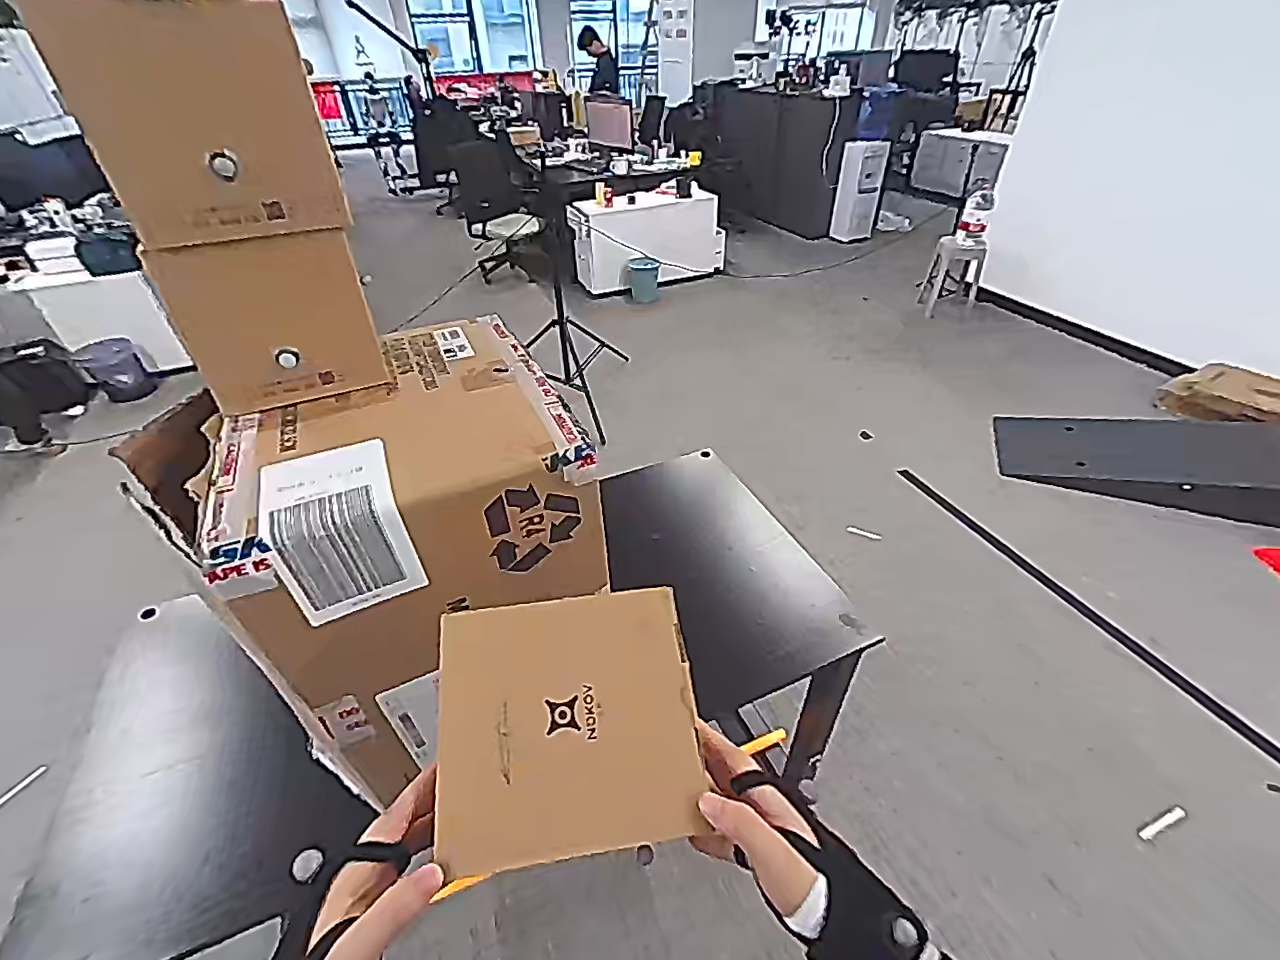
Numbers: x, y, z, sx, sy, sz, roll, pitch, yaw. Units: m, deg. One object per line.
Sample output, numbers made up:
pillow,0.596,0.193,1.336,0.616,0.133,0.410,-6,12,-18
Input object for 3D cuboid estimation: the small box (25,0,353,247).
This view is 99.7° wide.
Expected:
small box,-0.391,-0.327,0.507,0.168,0.176,0.179,-21,40,-23

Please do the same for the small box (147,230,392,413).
small box,-0.397,-0.197,0.609,0.168,0.176,0.179,-19,40,-22

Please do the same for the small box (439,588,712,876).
small box,-0.055,0.206,0.448,0.179,0.176,0.168,-8,57,-8
